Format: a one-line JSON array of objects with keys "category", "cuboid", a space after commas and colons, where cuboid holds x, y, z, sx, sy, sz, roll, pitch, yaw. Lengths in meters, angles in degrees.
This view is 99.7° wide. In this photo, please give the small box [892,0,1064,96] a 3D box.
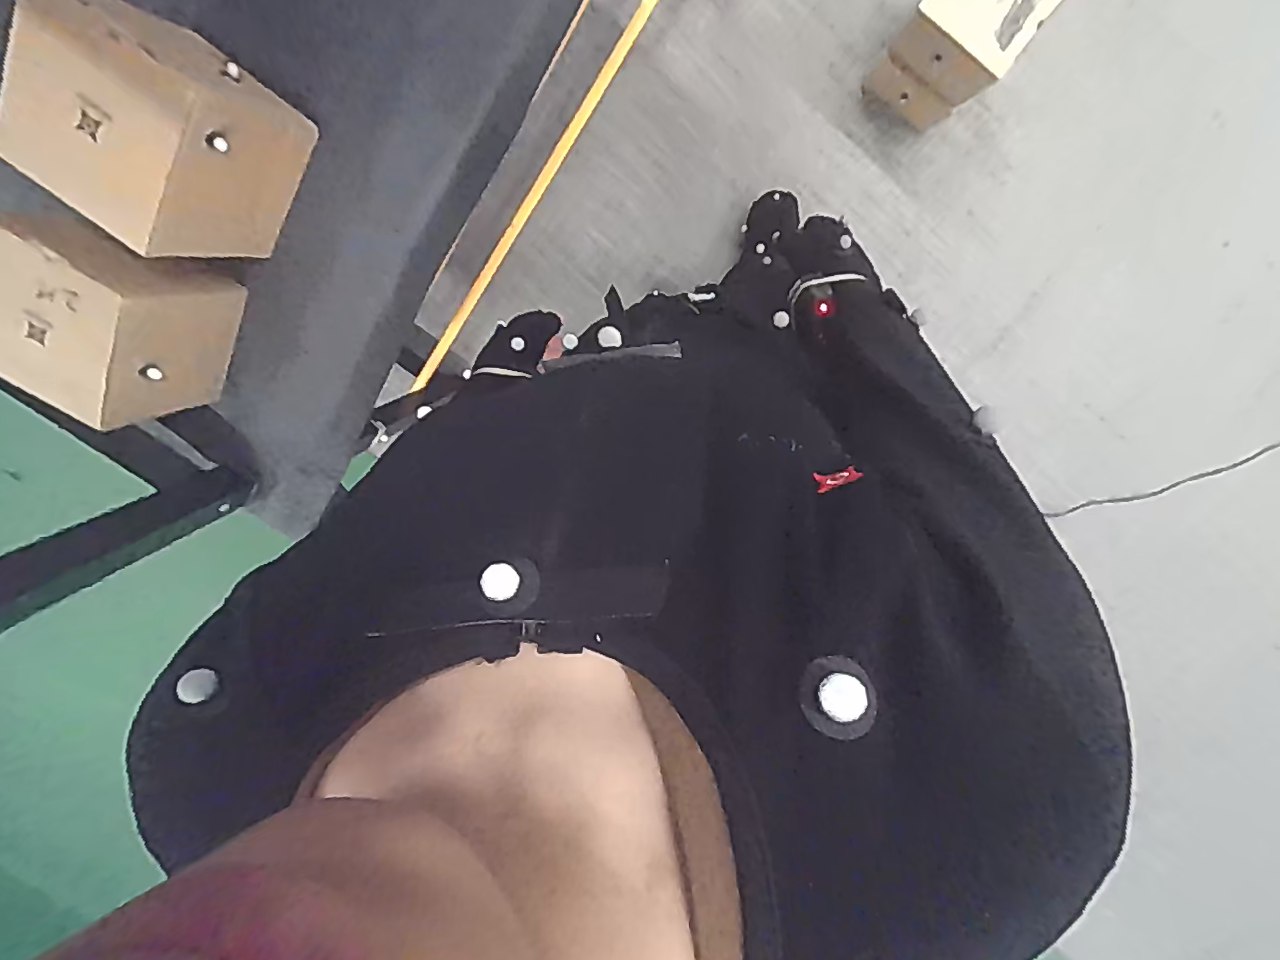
[{"category": "small box", "cuboid": [0.553, -0.769, 0.883, 0.179, 0.176, 0.168, 35, 112, -6]}]
